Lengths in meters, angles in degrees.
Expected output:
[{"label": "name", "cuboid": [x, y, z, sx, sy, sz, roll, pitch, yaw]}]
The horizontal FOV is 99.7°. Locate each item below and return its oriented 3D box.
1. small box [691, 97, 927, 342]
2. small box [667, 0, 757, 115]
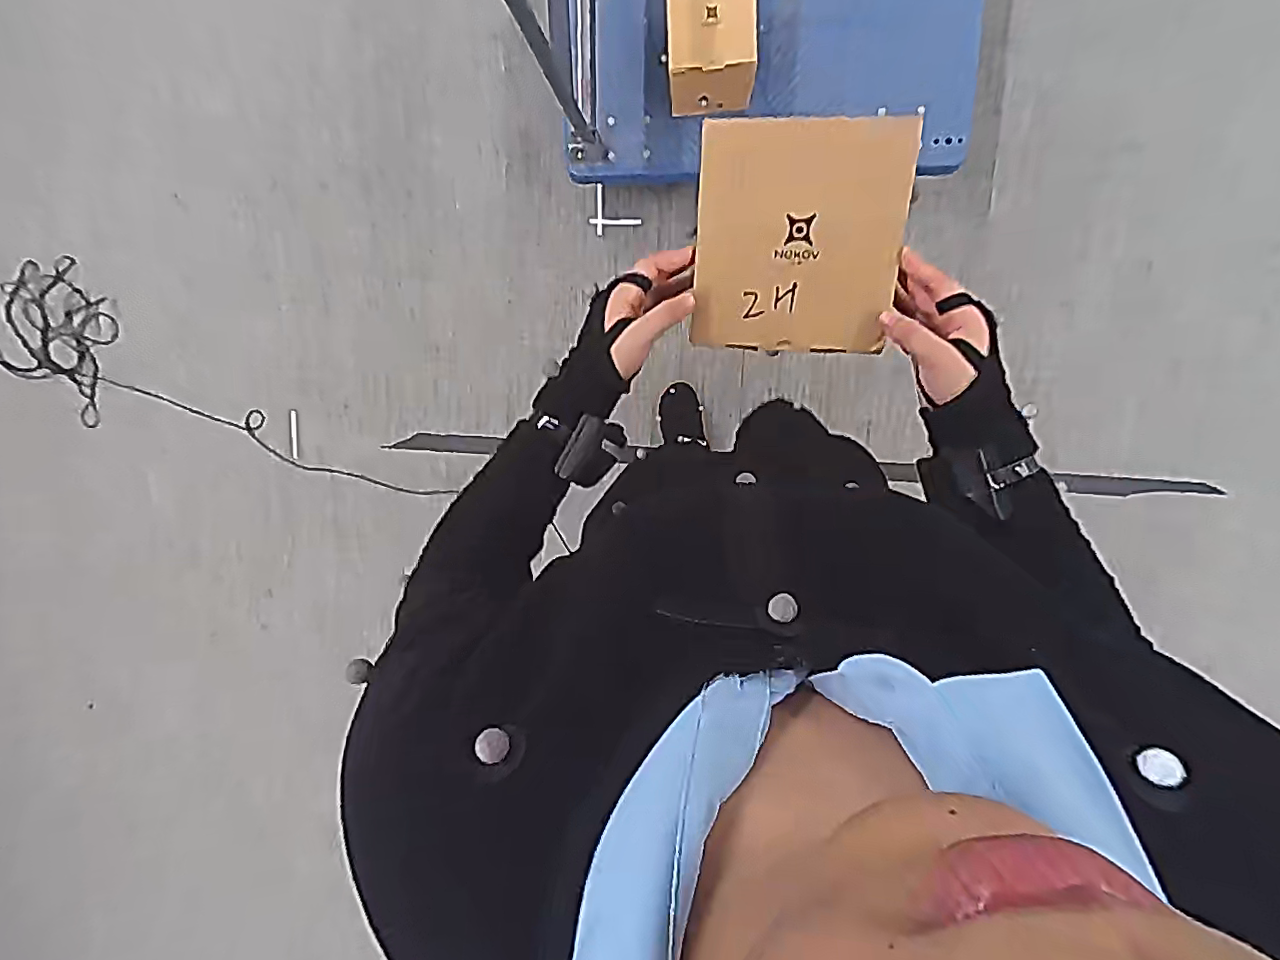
[{"label": "small box", "cuboid": [0.140, -0.228, 0.507, 0.168, 0.176, 0.179, 5, 109, 9]}, {"label": "small box", "cuboid": [0.138, -0.866, 1.075, 0.168, 0.176, 0.179, -2, 99, 5]}]
